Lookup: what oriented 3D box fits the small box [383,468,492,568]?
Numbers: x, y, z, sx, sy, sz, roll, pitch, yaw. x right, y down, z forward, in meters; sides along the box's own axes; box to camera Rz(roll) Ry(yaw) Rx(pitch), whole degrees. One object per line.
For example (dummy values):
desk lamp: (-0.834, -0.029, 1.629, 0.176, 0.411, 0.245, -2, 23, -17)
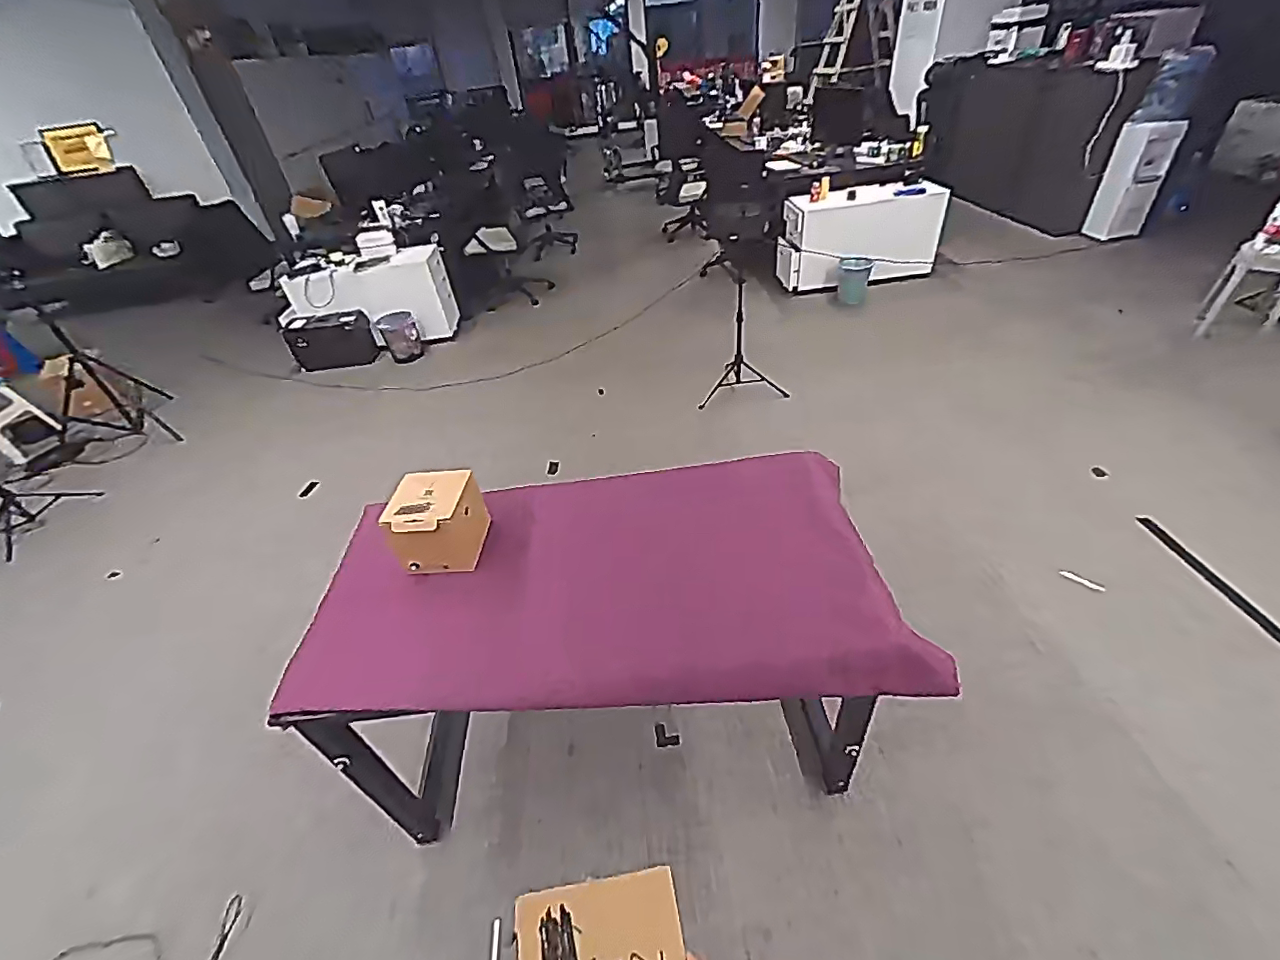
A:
small box: (-0.462, 0.094, 1.268, 0.168, 0.176, 0.179, -3, 40, 5)
